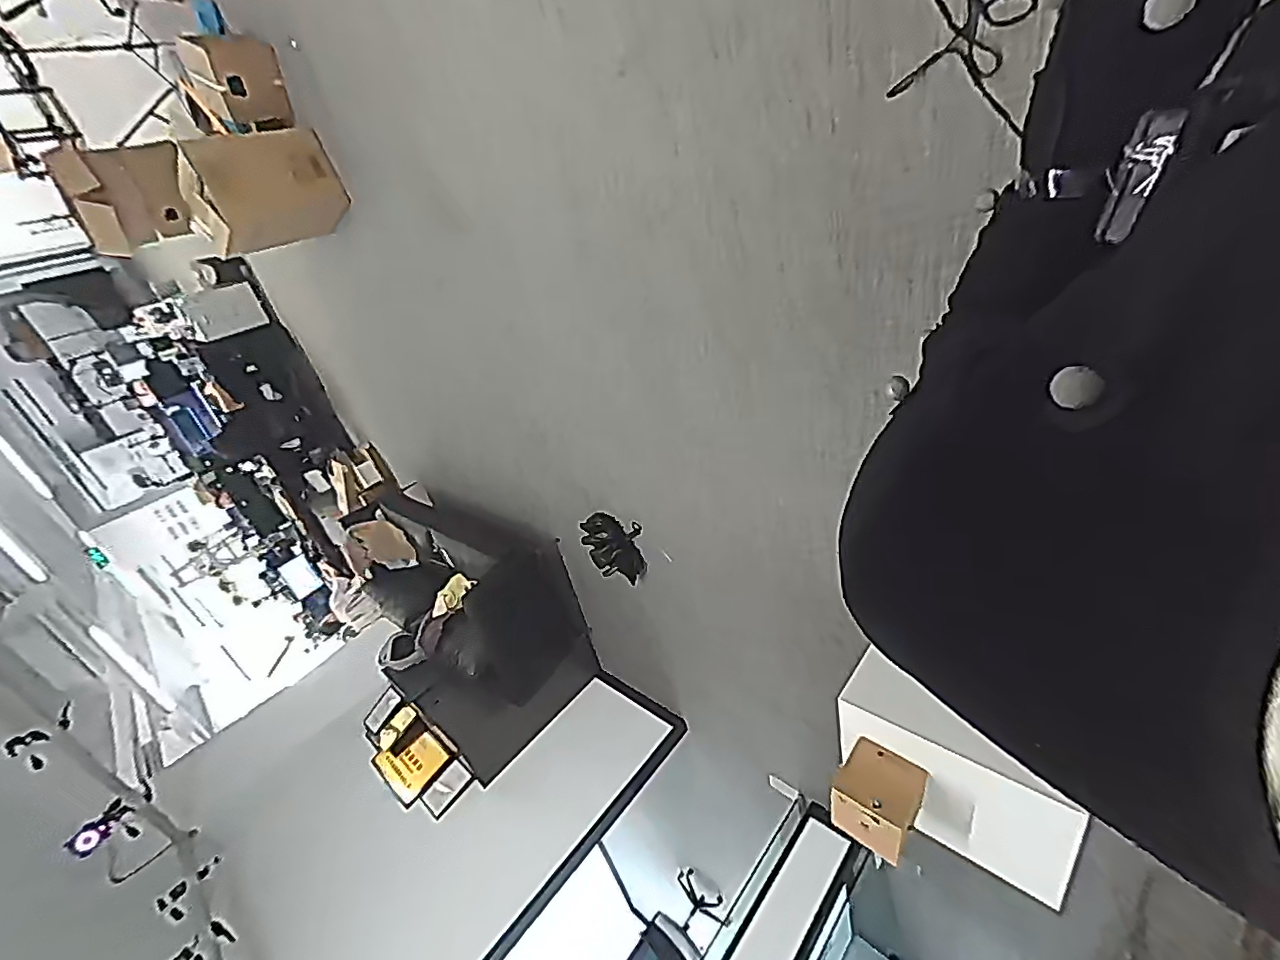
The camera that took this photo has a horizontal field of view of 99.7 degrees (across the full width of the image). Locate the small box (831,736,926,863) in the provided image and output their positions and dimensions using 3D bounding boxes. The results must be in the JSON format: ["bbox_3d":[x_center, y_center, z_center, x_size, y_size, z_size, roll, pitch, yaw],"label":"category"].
[{"bbox_3d":[0.590,0.785,1.340,0.168,0.176,0.179,18,133,39],"label":"small box"}]
